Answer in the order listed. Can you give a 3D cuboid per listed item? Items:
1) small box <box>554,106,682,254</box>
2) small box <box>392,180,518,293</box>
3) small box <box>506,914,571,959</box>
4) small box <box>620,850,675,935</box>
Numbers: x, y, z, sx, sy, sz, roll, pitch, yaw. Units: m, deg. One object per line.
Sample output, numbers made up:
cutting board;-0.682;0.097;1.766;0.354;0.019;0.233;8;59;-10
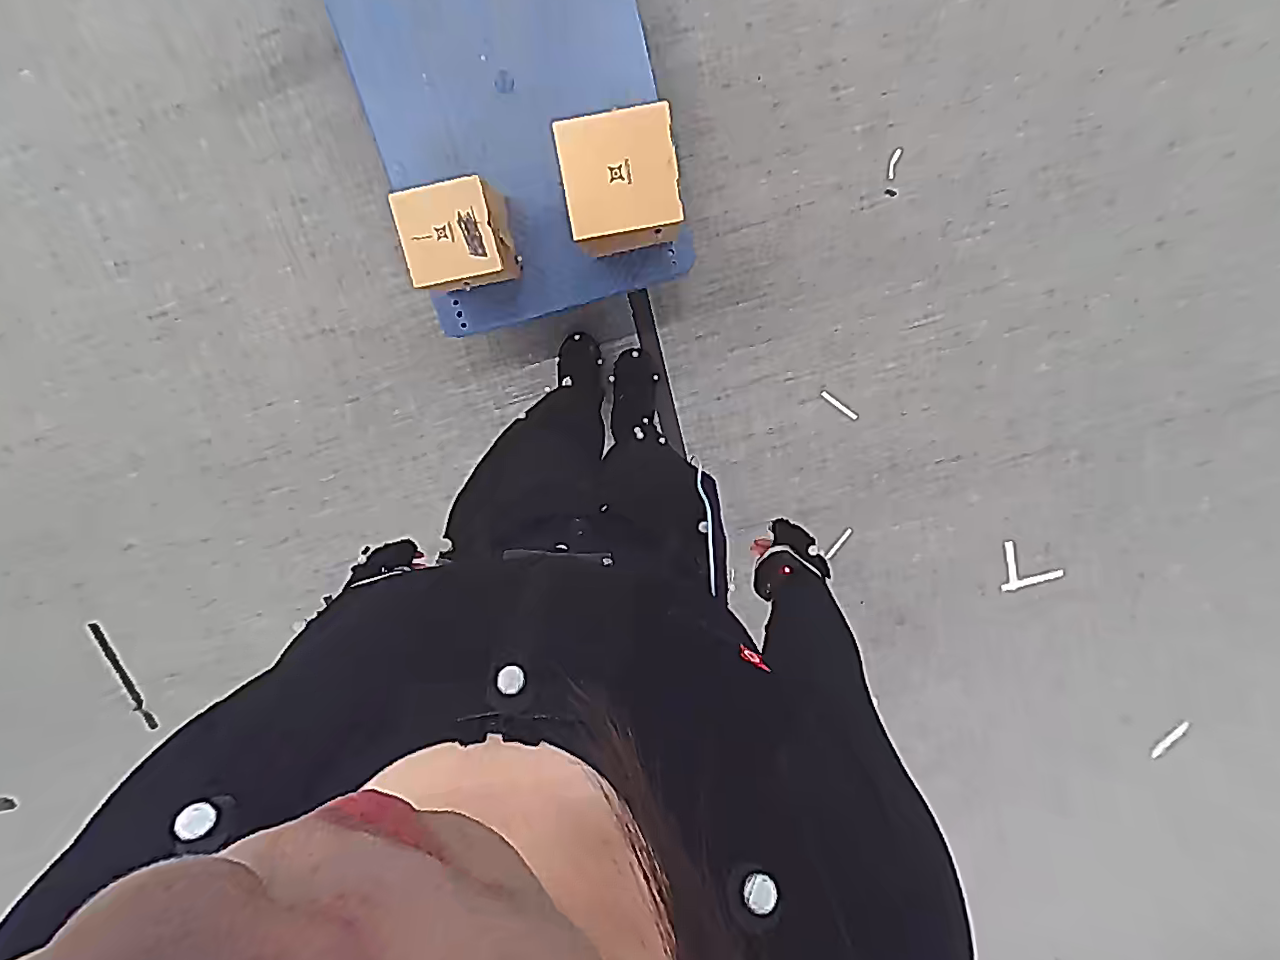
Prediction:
small box;-0.030;-0.481;0.895;0.179;0.176;0.168;-9;106;2
small box;-0.350;-0.471;1.070;0.179;0.176;0.168;-10;106;4
small box;-0.323;1.527;1.721;0.179;0.176;0.168;-9;107;4
small box;0.024;1.405;1.852;0.168;0.176;0.179;-8;108;4
